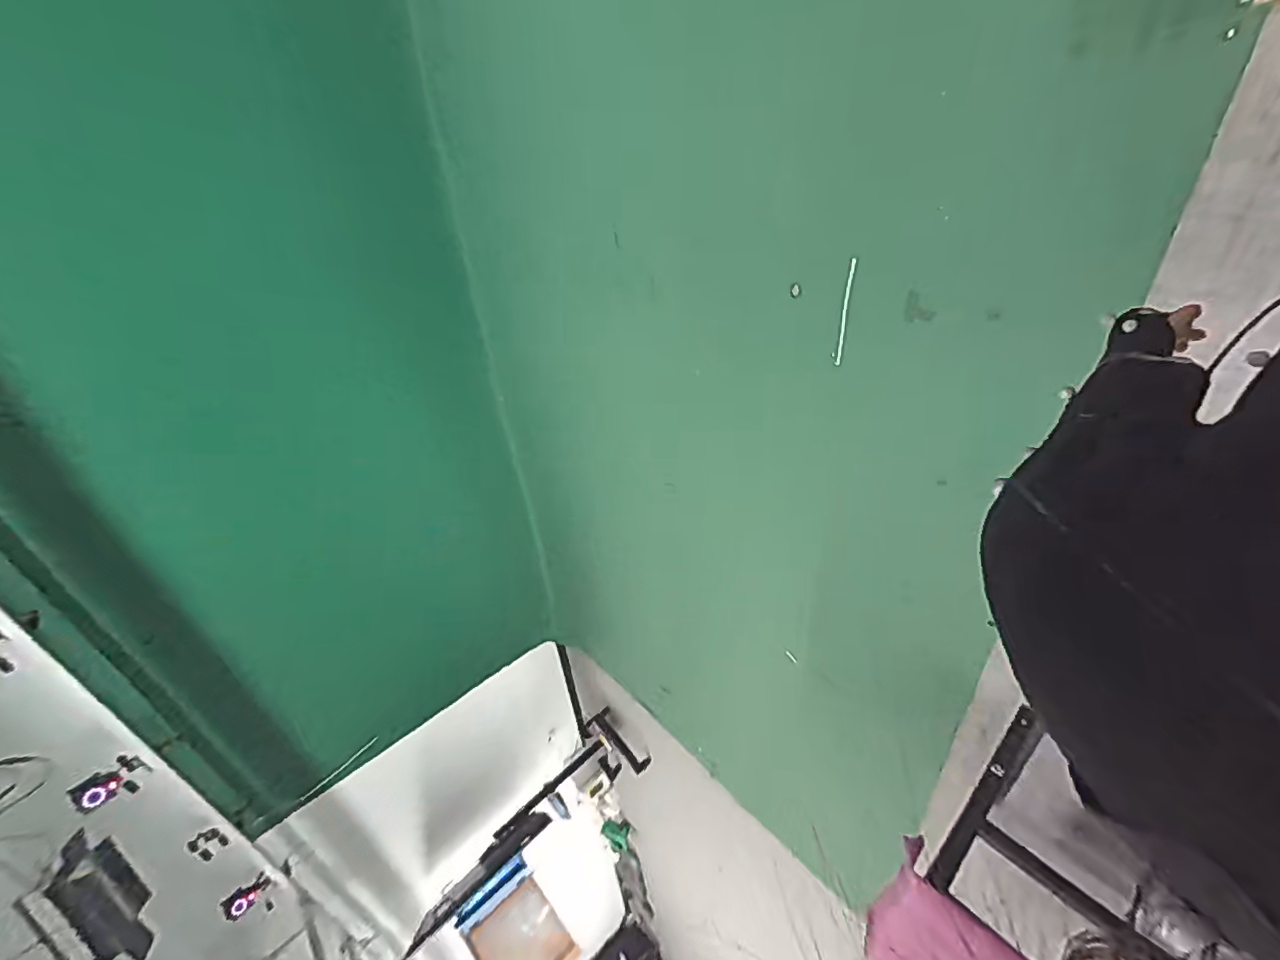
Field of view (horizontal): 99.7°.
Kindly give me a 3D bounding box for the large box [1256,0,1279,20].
[{"bbox_3d":[0.992,-0.760,0.562,0.408,0.320,0.320,15,125,51],"label":"large box"}]
